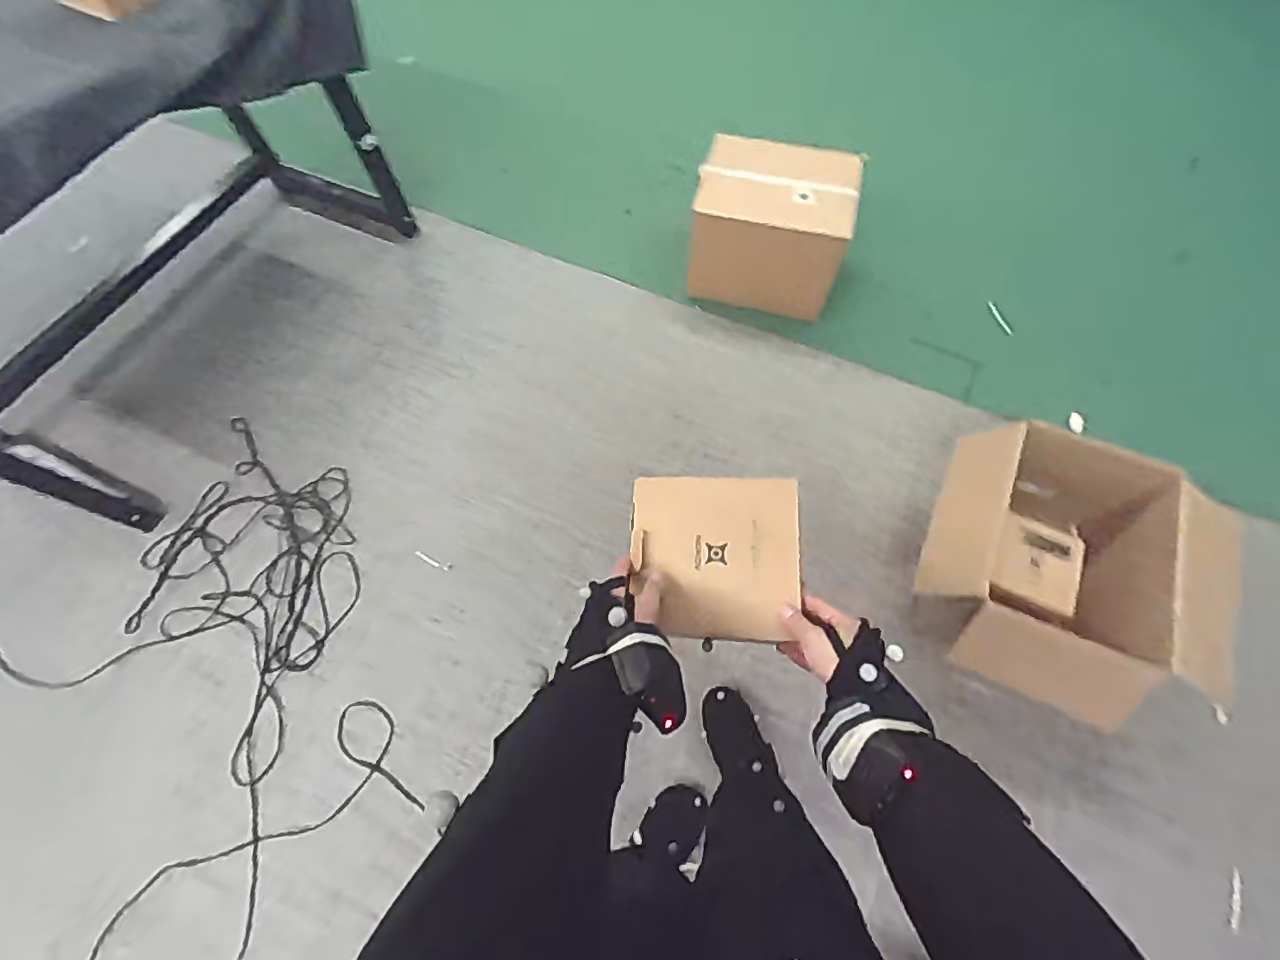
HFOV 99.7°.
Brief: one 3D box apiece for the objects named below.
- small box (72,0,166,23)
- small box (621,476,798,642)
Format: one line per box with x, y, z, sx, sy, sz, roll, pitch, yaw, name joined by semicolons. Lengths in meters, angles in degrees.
-0.992;-0.981;0.984;0.168;0.176;0.179;26;69;13;small box
0.084;0.098;0.626;0.179;0.176;0.168;0;73;9;small box
